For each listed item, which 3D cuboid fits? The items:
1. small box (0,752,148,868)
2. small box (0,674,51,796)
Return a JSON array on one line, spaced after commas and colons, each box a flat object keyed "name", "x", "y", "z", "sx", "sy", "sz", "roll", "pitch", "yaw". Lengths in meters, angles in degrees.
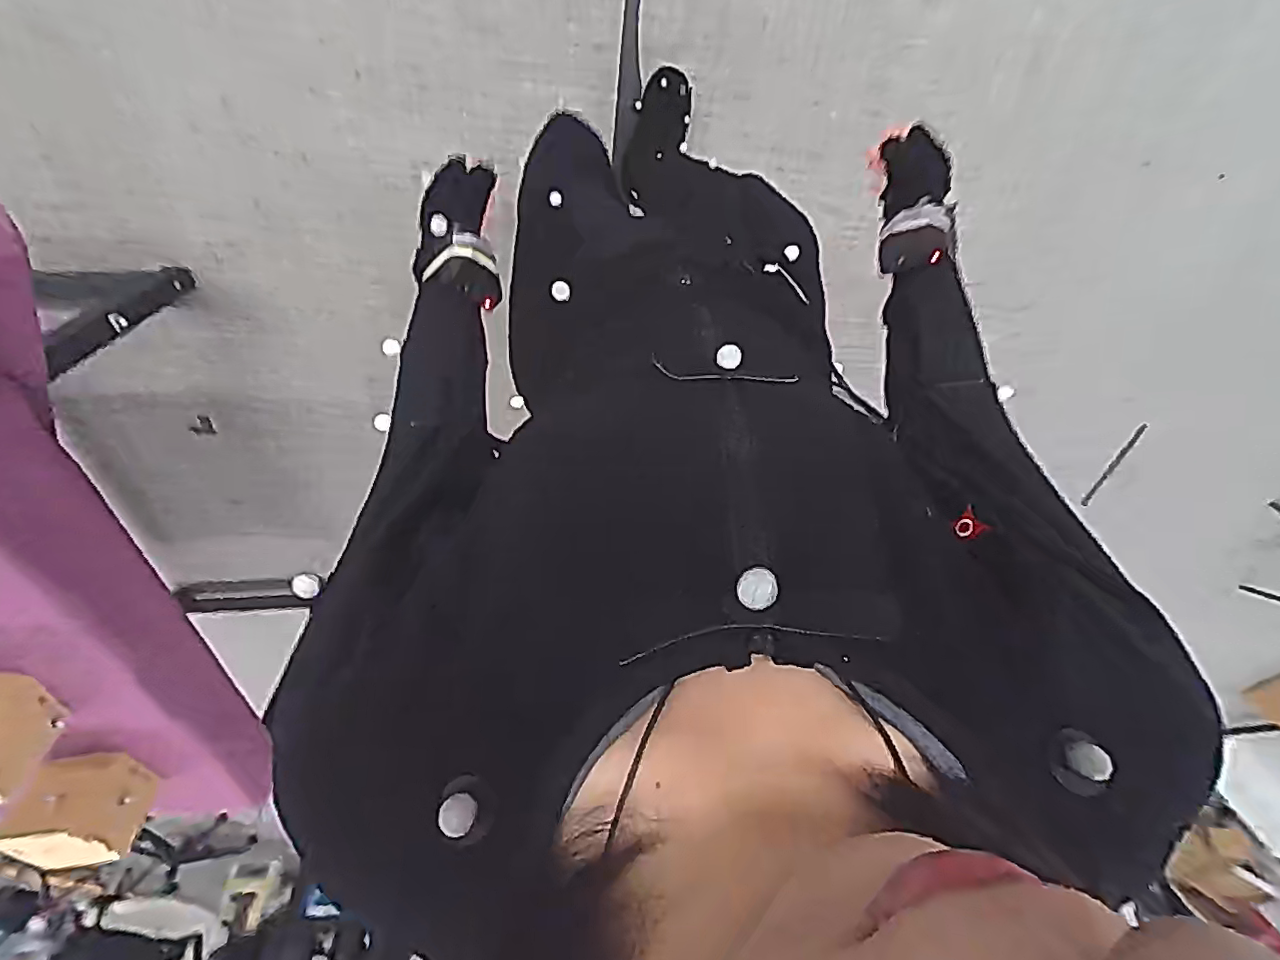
[{"name": "small box", "x": -1.250, "y": 0.723, "z": 1.192, "sx": 0.179, "sy": 0.176, "sz": 0.168, "roll": -8, "pitch": 129, "yaw": -1}, {"name": "small box", "x": -1.251, "y": 0.466, "z": 0.986, "sx": 0.179, "sy": 0.176, "sz": 0.168, "roll": 6, "pitch": 128, "yaw": -9}]
